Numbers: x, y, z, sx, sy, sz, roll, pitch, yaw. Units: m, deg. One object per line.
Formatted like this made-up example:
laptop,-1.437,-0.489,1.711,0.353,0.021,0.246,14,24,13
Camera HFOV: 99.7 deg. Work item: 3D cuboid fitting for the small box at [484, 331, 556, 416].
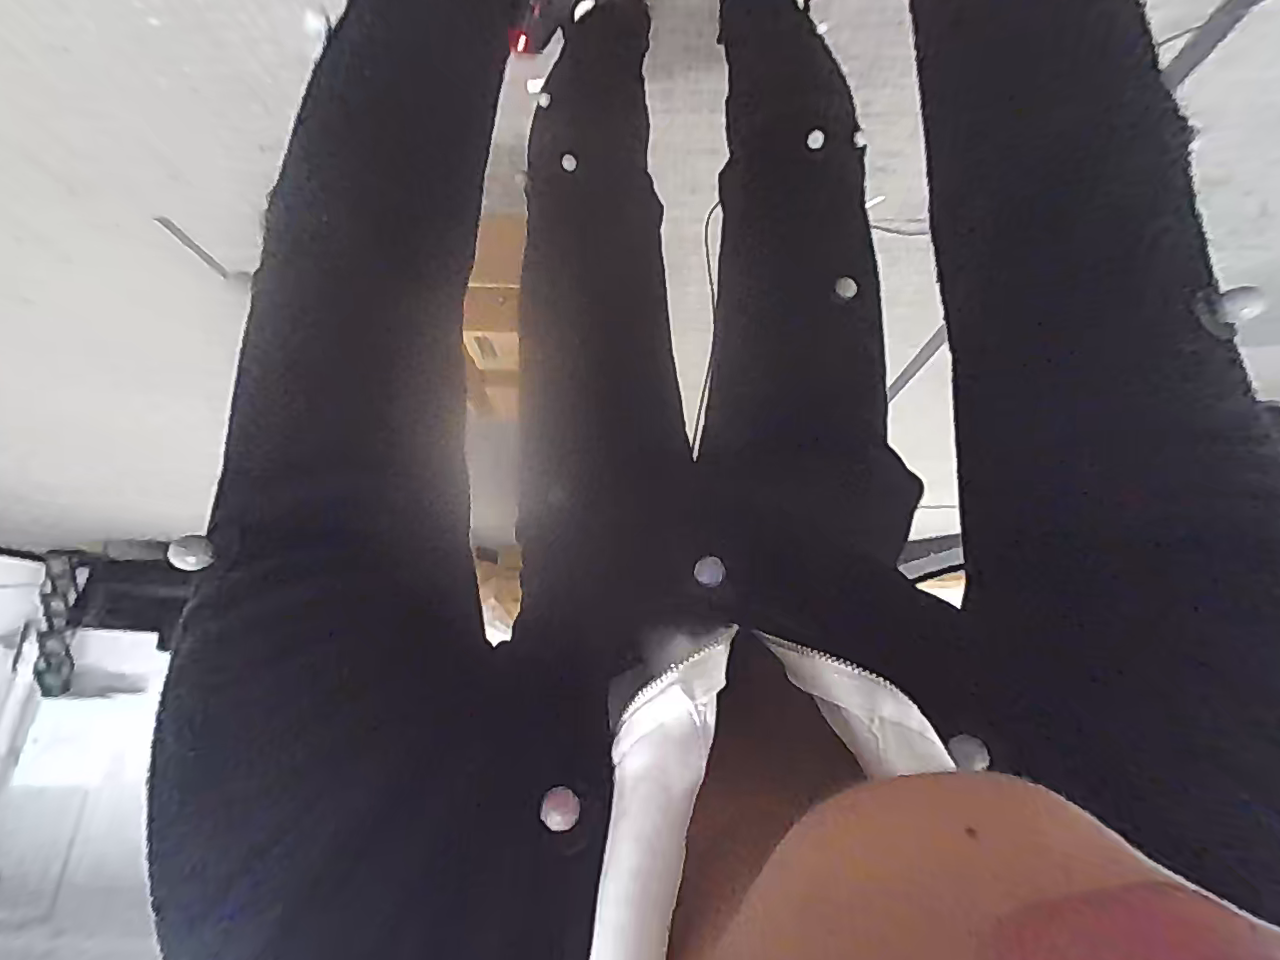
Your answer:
small box,-0.326,-0.292,1.503,0.168,0.176,0.179,-1,160,-2
